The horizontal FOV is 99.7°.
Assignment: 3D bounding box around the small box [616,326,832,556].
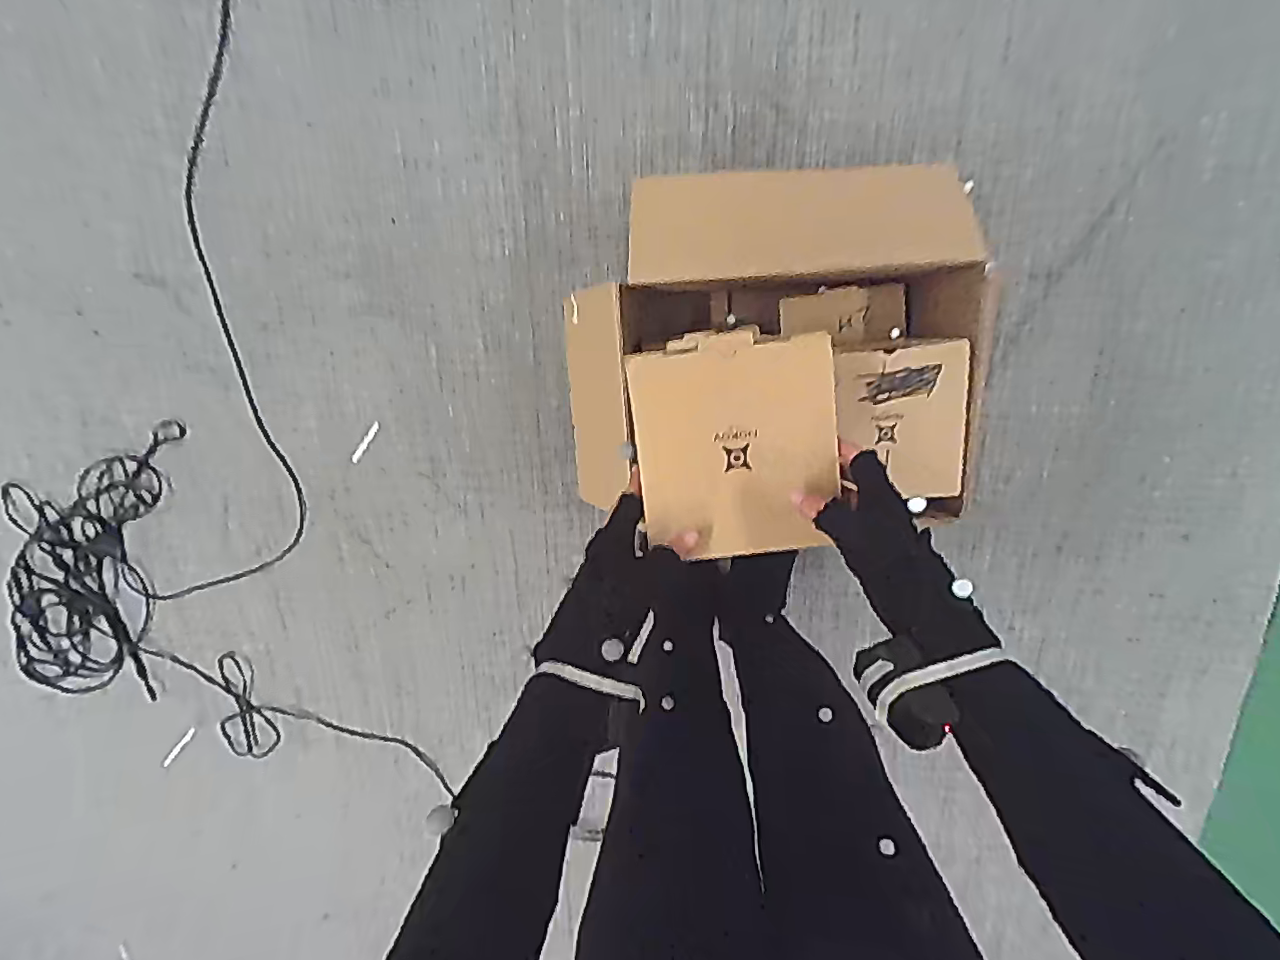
[{"bbox_3d":[0.074,-0.042,0.518,0.168,0.176,0.179,-7,99,3],"label":"small box"}]
